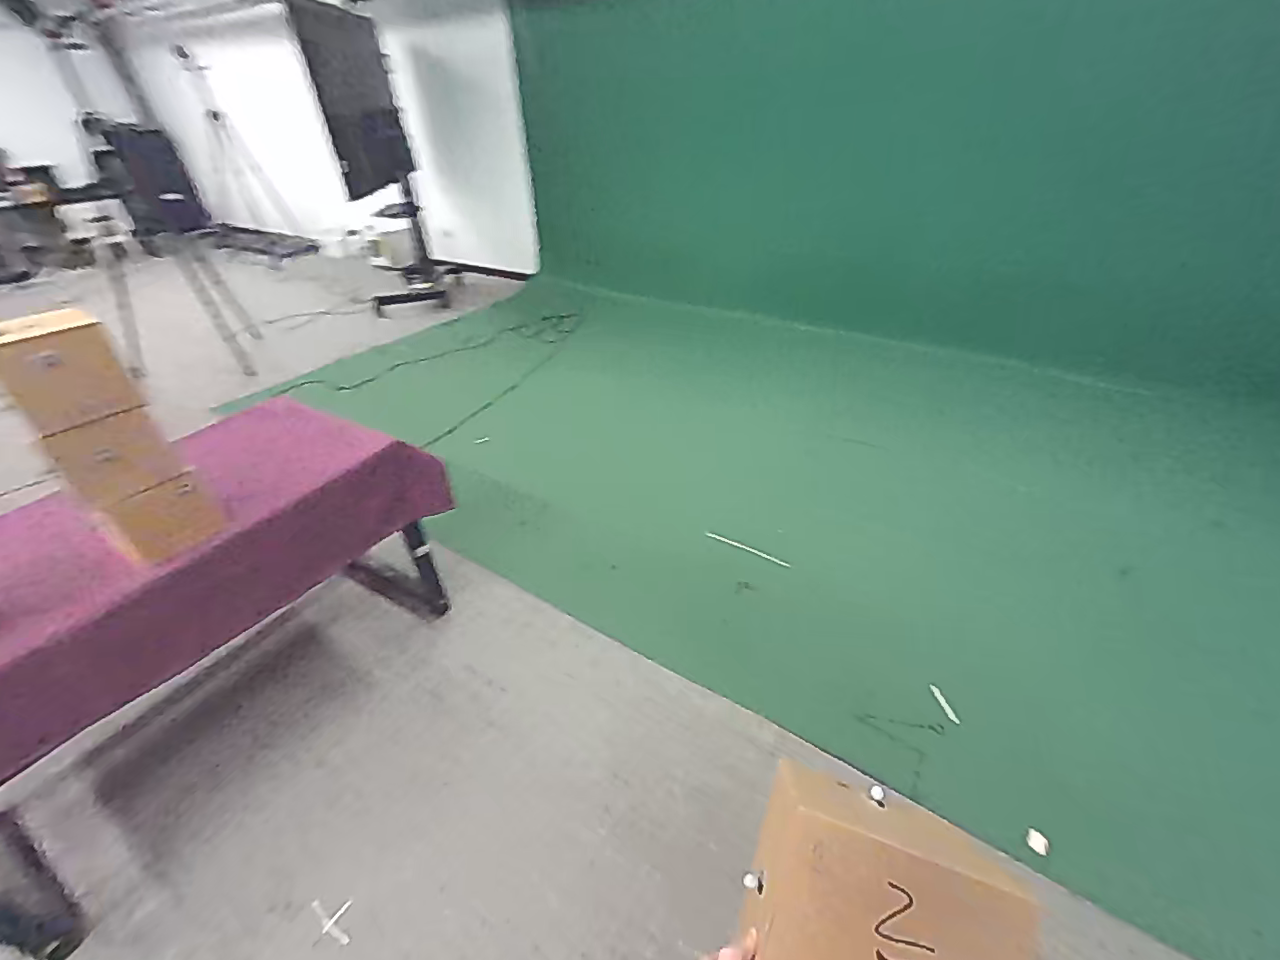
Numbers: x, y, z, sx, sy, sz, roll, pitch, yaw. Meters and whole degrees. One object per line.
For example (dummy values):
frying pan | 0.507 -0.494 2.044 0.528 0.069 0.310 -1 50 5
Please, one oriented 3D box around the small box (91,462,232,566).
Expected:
small box | -1.074 0.064 1.210 0.168 0.176 0.179 18 41 27

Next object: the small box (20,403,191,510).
small box | -1.086 -0.066 1.109 0.168 0.176 0.179 22 43 30

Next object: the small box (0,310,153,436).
small box | -1.087 -0.203 1.018 0.168 0.176 0.179 21 41 30
